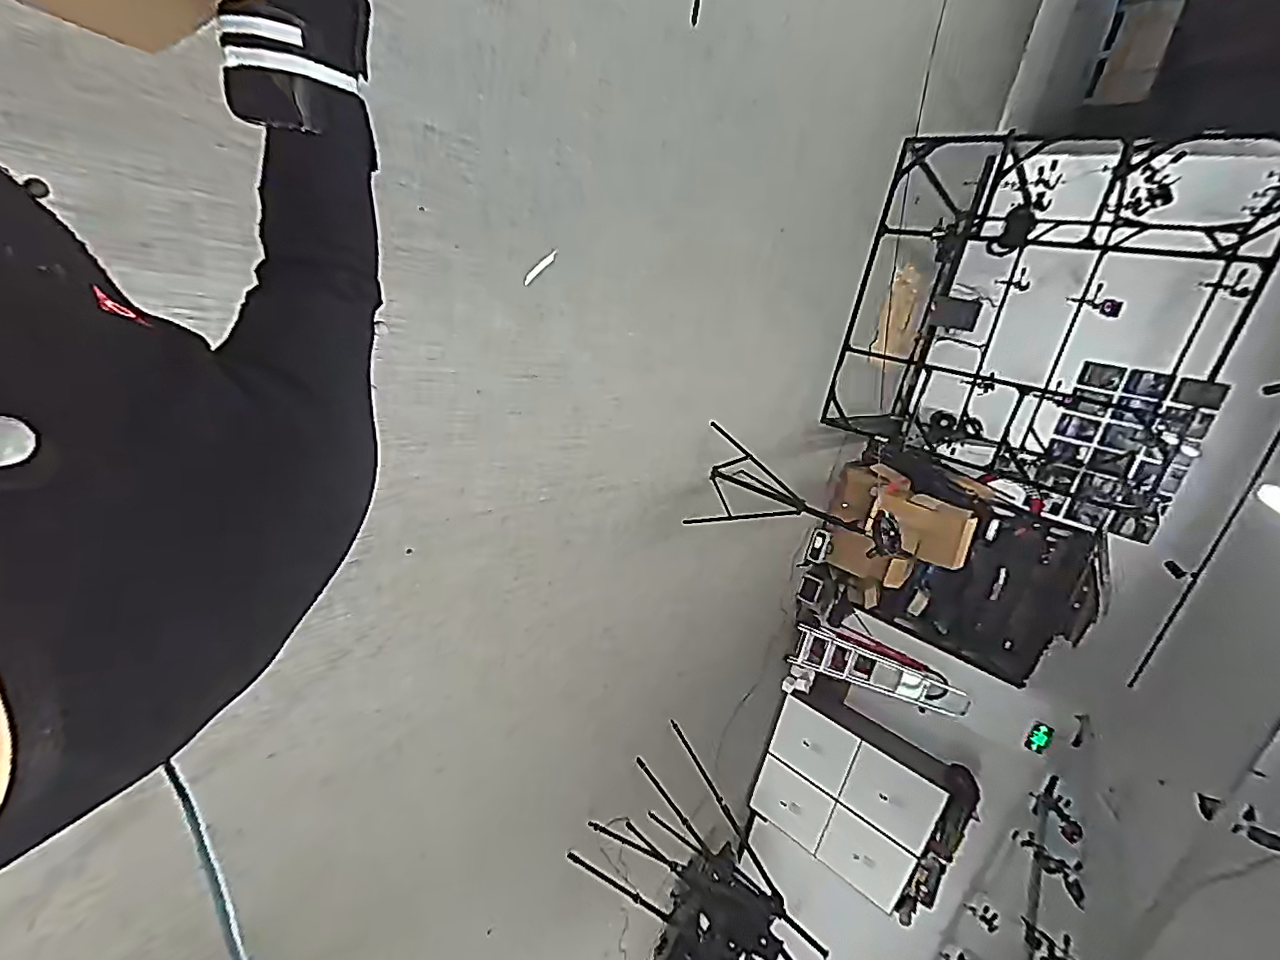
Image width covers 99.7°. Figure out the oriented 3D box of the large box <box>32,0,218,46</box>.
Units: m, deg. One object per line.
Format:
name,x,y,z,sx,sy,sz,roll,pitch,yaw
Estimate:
large box,-0.449,-0.488,0.237,0.408,0.320,0.320,-7,115,-50
